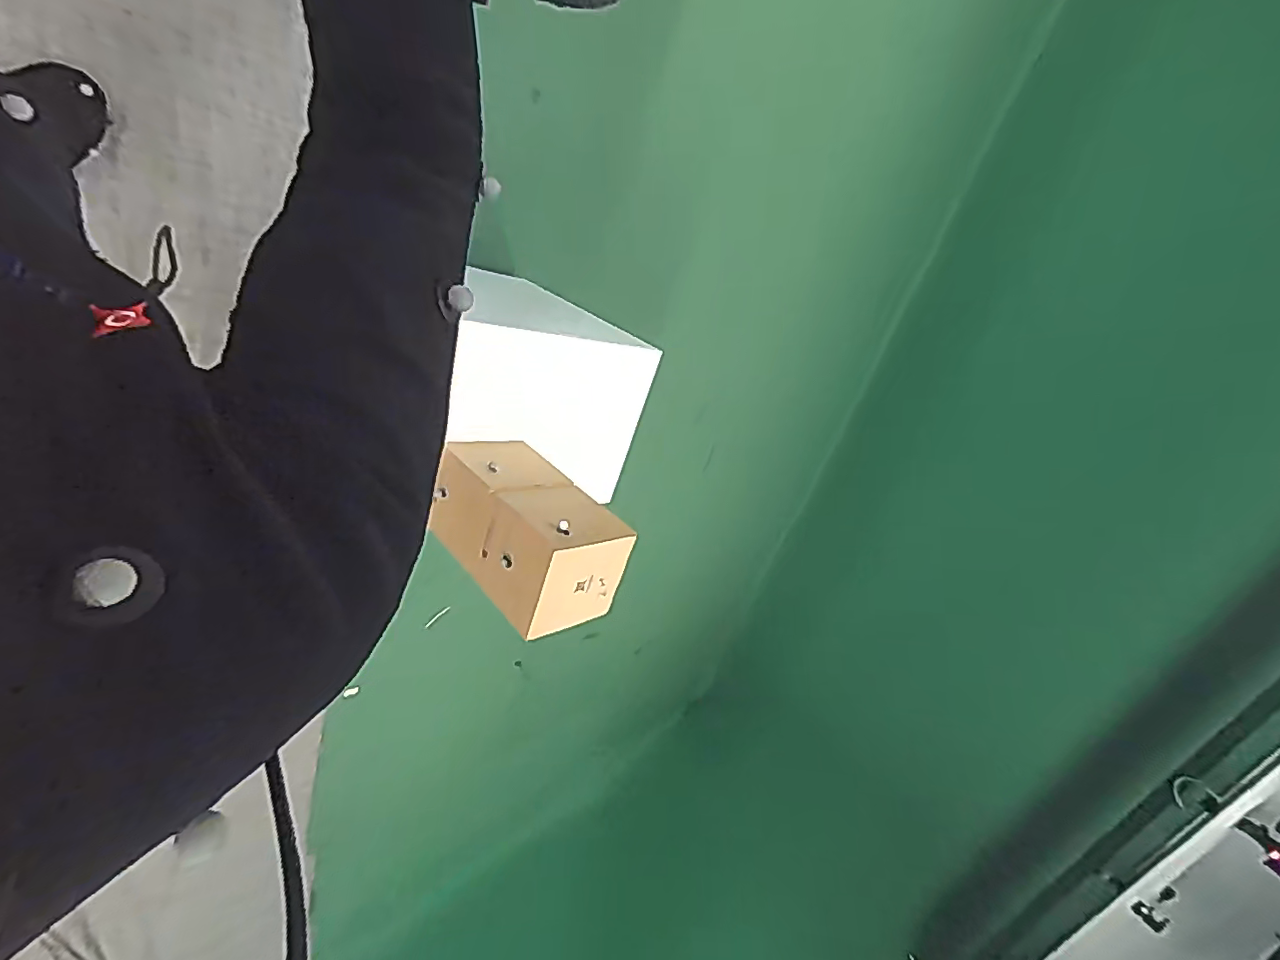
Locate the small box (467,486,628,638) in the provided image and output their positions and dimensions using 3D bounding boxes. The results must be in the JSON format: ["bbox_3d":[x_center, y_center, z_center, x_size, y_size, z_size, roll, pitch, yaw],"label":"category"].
[{"bbox_3d":[-0.156,0.123,0.885,0.179,0.176,0.168,-6,124,-50],"label":"small box"}]
